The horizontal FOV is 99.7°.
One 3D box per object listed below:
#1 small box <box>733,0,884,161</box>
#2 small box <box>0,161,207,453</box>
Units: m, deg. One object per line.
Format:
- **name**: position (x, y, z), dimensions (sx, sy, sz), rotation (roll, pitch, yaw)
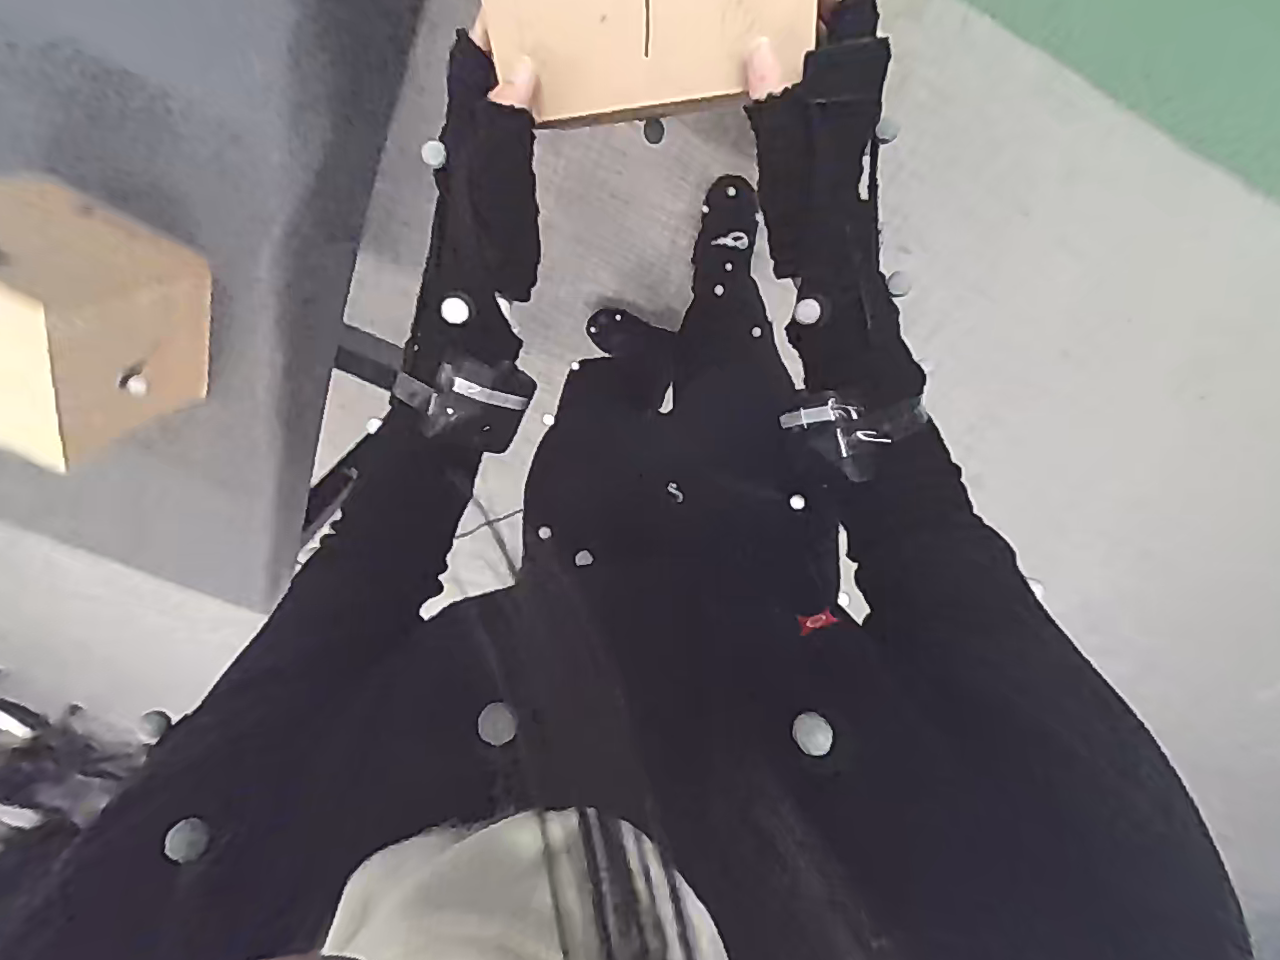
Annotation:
- **small box**: position (0.273, -0.682, 0.917), dimensions (0.168, 0.176, 0.179), rotation (33, 124, -12)
- **small box**: position (-0.550, -0.164, 0.504), dimensions (0.168, 0.176, 0.179), rotation (28, 124, -10)
